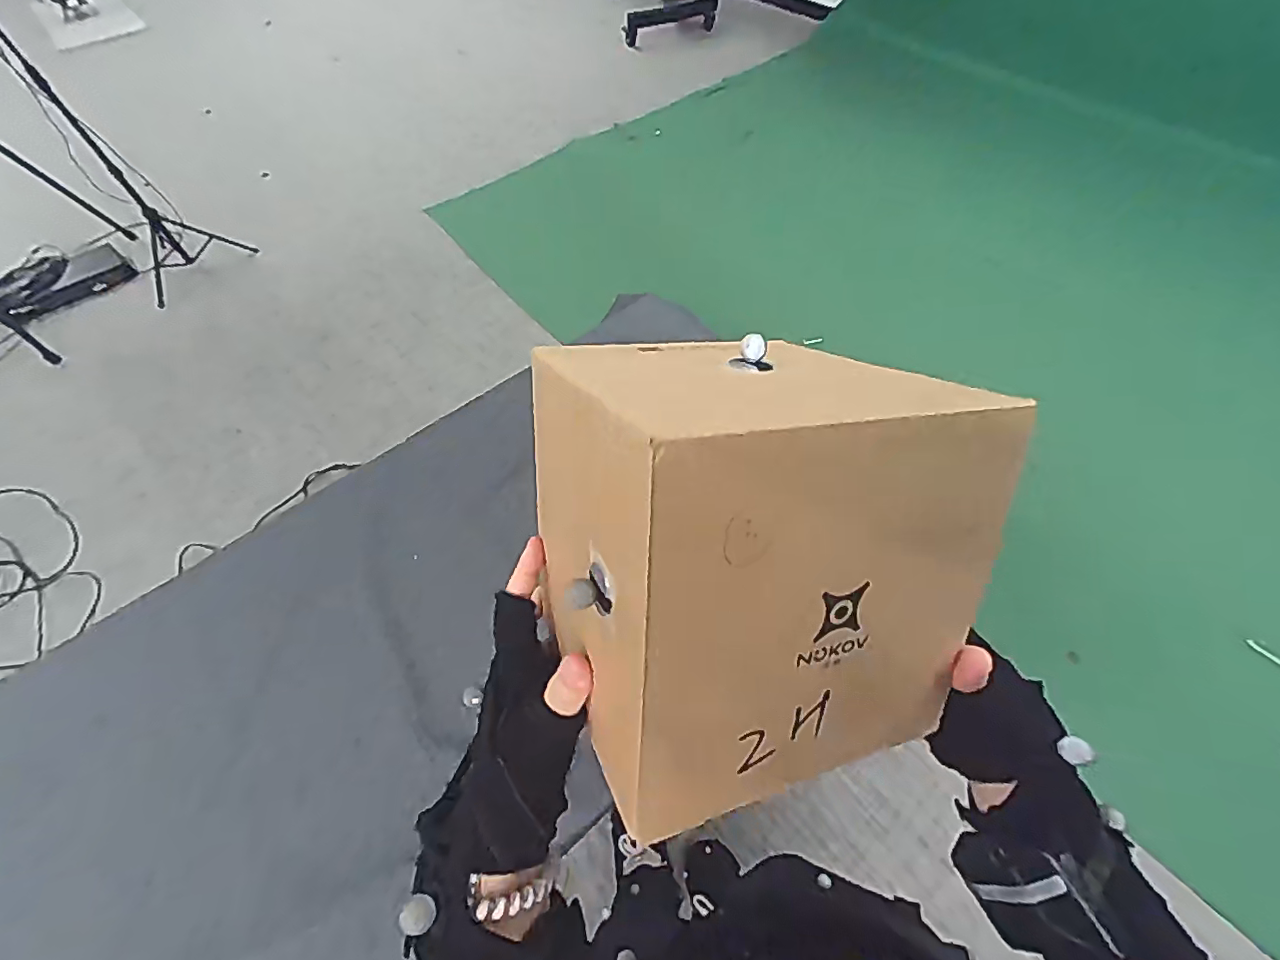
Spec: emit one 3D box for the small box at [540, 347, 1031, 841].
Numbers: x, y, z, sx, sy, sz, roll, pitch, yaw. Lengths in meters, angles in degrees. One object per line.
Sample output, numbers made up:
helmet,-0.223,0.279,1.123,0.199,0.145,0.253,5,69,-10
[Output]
small box,0.046,0.027,0.281,0.168,0.179,0.176,-6,22,-22
